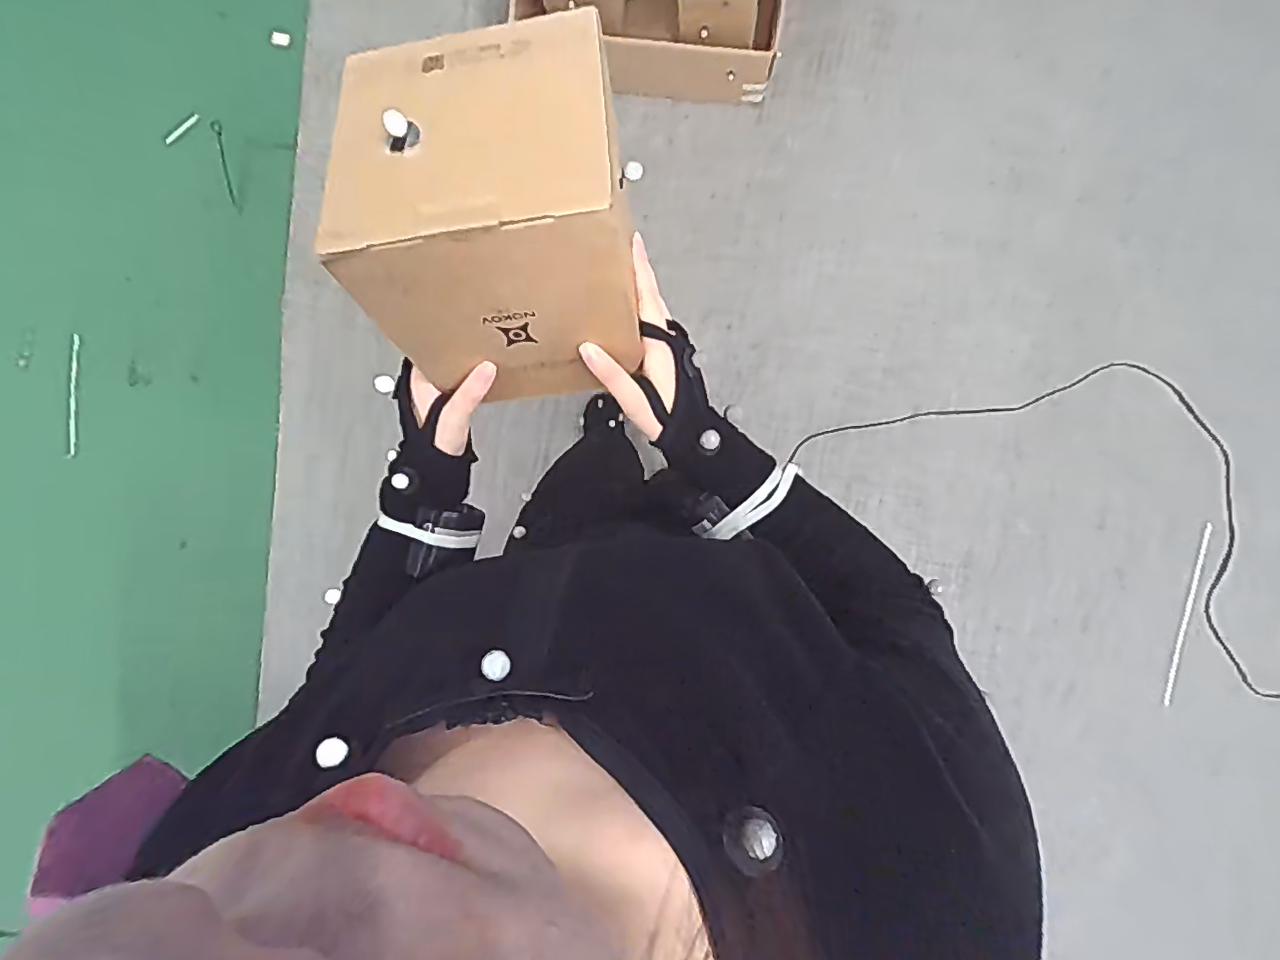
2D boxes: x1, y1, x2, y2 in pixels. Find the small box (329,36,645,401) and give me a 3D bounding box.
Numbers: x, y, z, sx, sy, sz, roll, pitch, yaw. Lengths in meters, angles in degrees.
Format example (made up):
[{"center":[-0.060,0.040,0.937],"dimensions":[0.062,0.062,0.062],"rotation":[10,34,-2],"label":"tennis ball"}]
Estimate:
[{"center":[-0.090,-0.180,0.395],"dimensions":[0.168,0.179,0.176],"rotation":[-6,70,4],"label":"small box"}]
